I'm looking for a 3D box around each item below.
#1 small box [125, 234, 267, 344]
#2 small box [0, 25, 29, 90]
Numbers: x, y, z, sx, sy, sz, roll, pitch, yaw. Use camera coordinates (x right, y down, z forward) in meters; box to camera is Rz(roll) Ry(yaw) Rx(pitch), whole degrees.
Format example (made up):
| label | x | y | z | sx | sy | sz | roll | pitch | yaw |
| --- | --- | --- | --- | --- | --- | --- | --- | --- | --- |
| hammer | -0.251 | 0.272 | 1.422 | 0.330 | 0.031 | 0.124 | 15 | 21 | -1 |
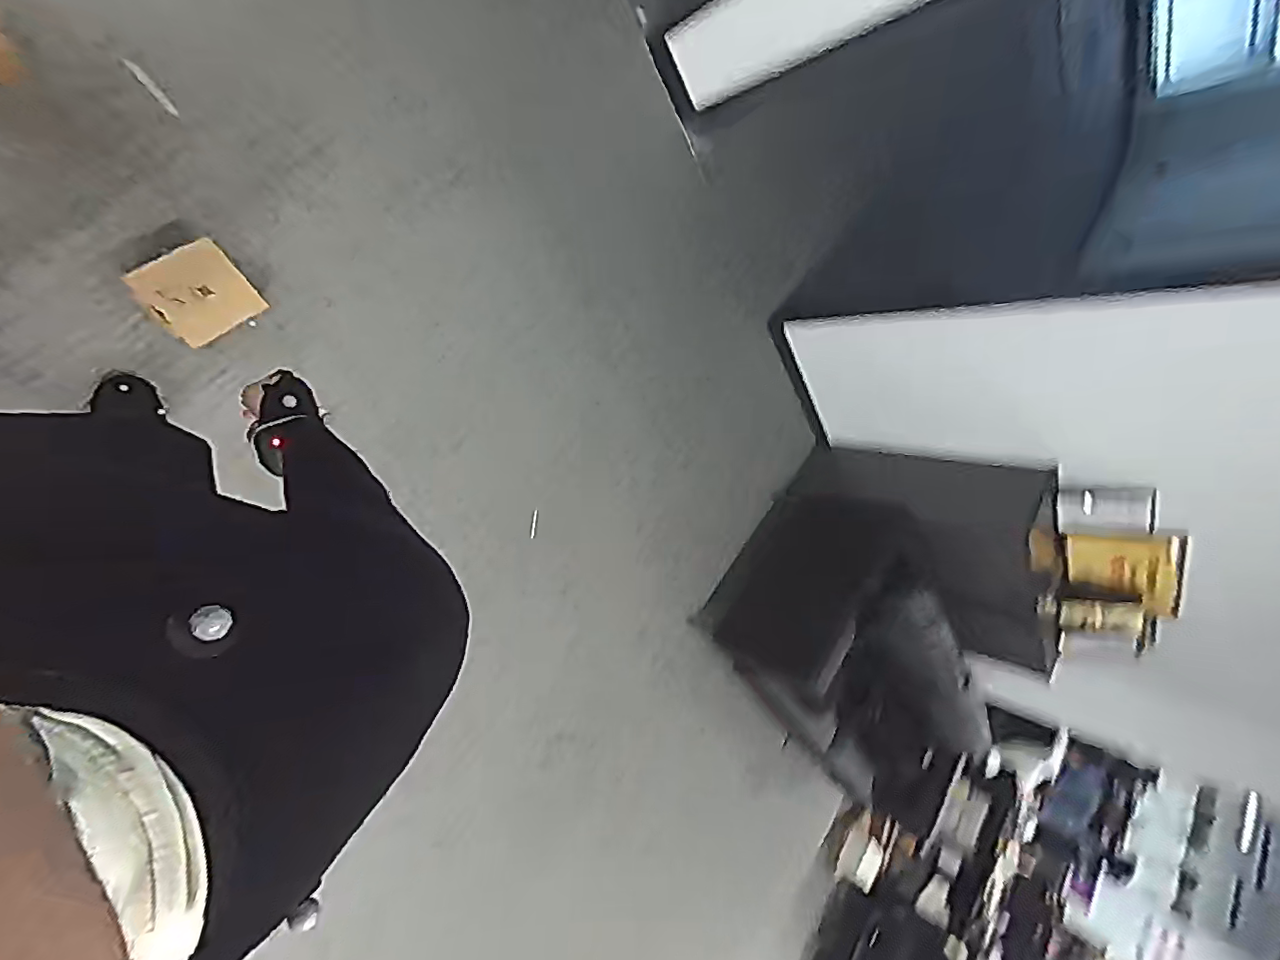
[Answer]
| label | x | y | z | sx | sy | sz | roll | pitch | yaw |
| --- | --- | --- | --- | --- | --- | --- | --- | --- | --- |
| small box | -0.958 | -0.410 | 1.174 | 0.179 | 0.176 | 0.168 | -39 | 120 | -27 |
| small box | -1.194 | -0.766 | 0.895 | 0.168 | 0.176 | 0.179 | -45 | 125 | -24 |
